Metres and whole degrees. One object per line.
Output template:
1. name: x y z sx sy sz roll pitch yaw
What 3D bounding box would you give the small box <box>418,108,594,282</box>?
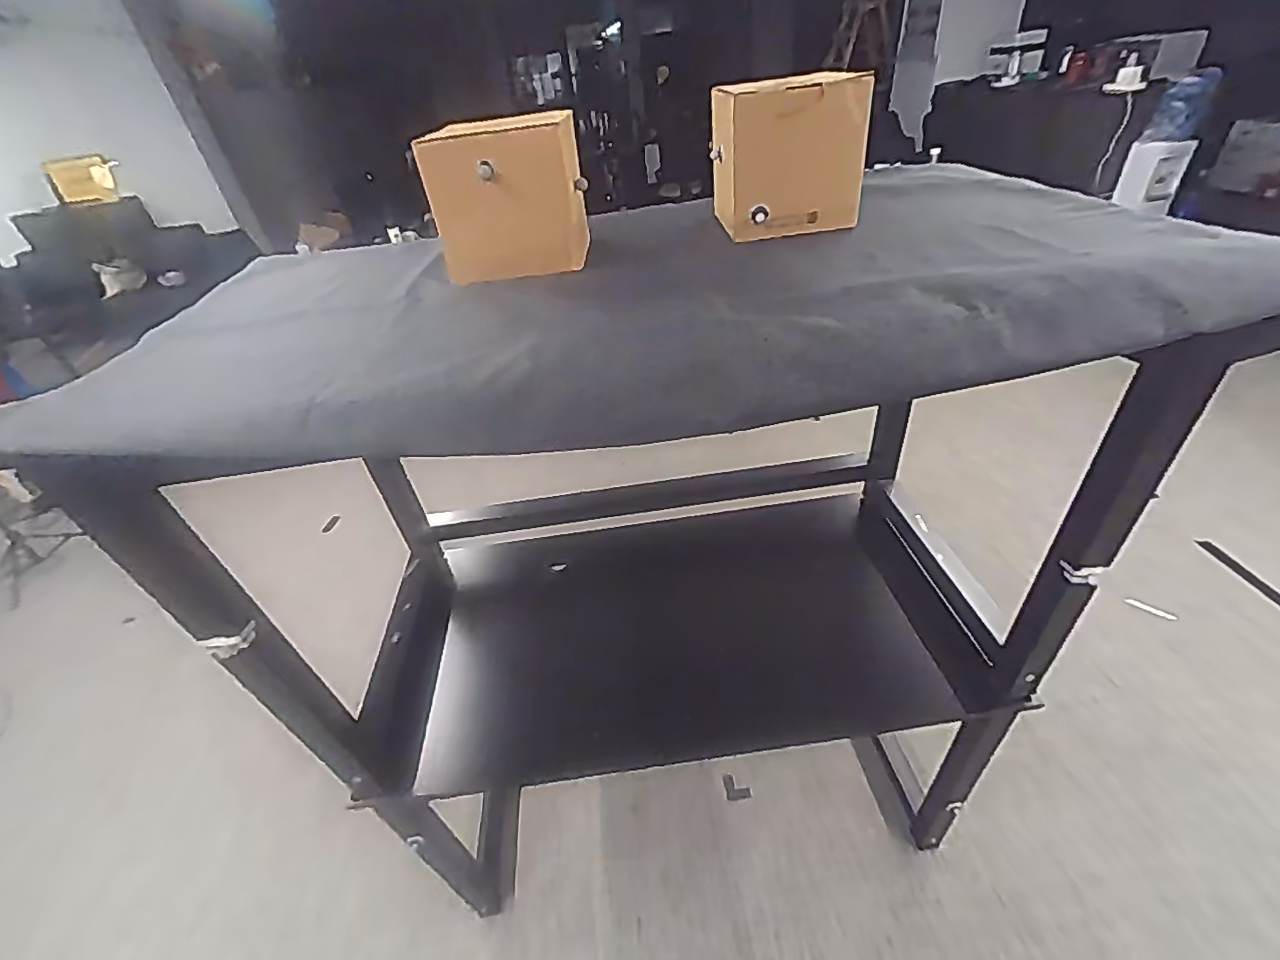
1. small box: -0.160 -0.380 0.723 0.179 0.176 0.168 -5 38 4

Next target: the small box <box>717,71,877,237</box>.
1. small box: 0.201 -0.441 0.739 0.168 0.176 0.179 -6 37 2
